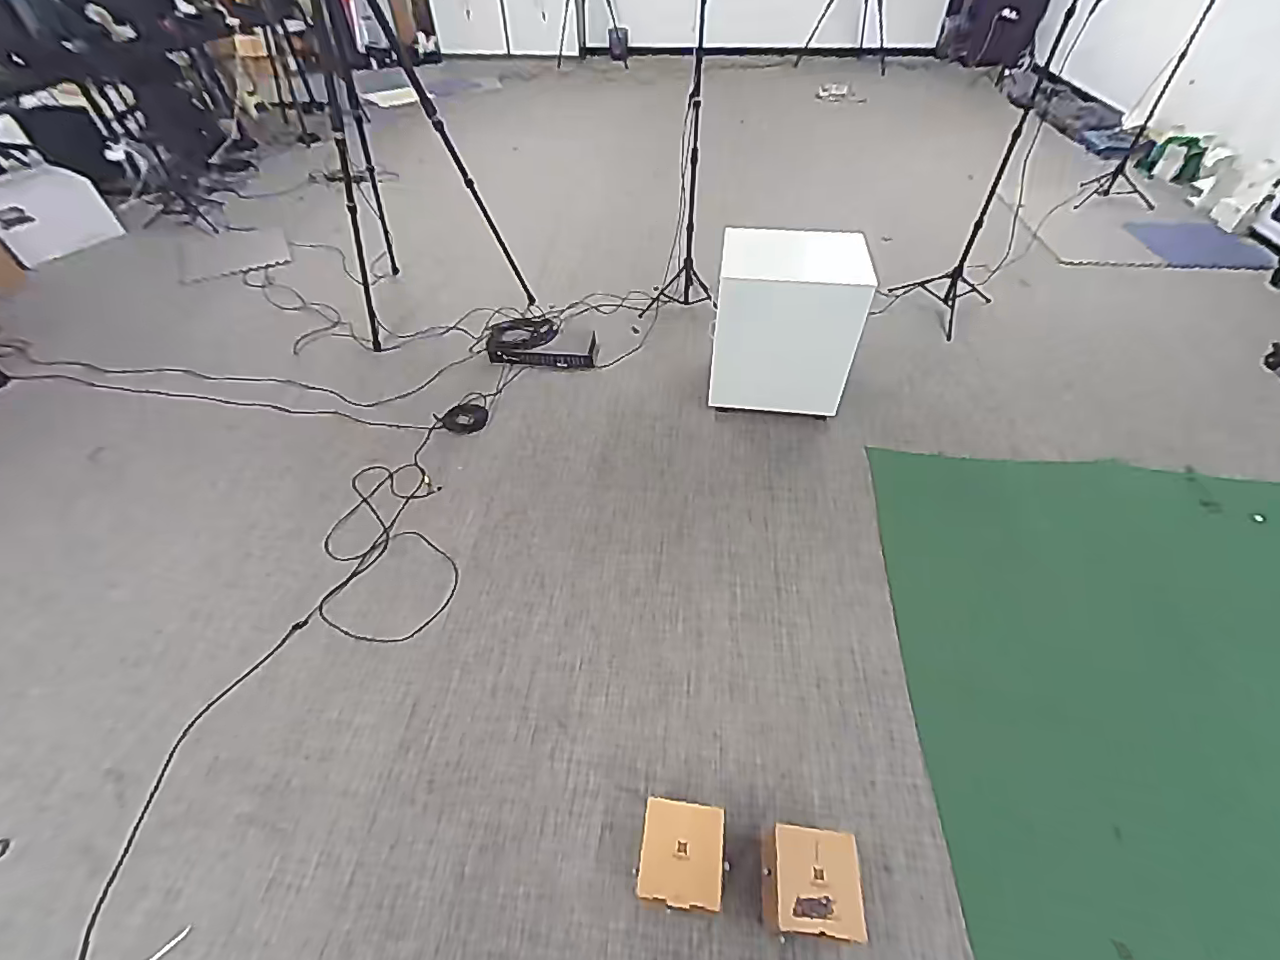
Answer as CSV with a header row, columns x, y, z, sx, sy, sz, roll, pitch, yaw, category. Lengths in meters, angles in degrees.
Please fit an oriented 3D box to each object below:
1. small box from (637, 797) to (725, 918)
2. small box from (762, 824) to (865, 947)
x,y,z,sx,sy,sz,roll,pitch,yaw,category
0.085,0.806,1.154,0.168,0.176,0.179,6,48,6,small box
0.350,0.841,1.120,0.168,0.176,0.179,6,47,6,small box
